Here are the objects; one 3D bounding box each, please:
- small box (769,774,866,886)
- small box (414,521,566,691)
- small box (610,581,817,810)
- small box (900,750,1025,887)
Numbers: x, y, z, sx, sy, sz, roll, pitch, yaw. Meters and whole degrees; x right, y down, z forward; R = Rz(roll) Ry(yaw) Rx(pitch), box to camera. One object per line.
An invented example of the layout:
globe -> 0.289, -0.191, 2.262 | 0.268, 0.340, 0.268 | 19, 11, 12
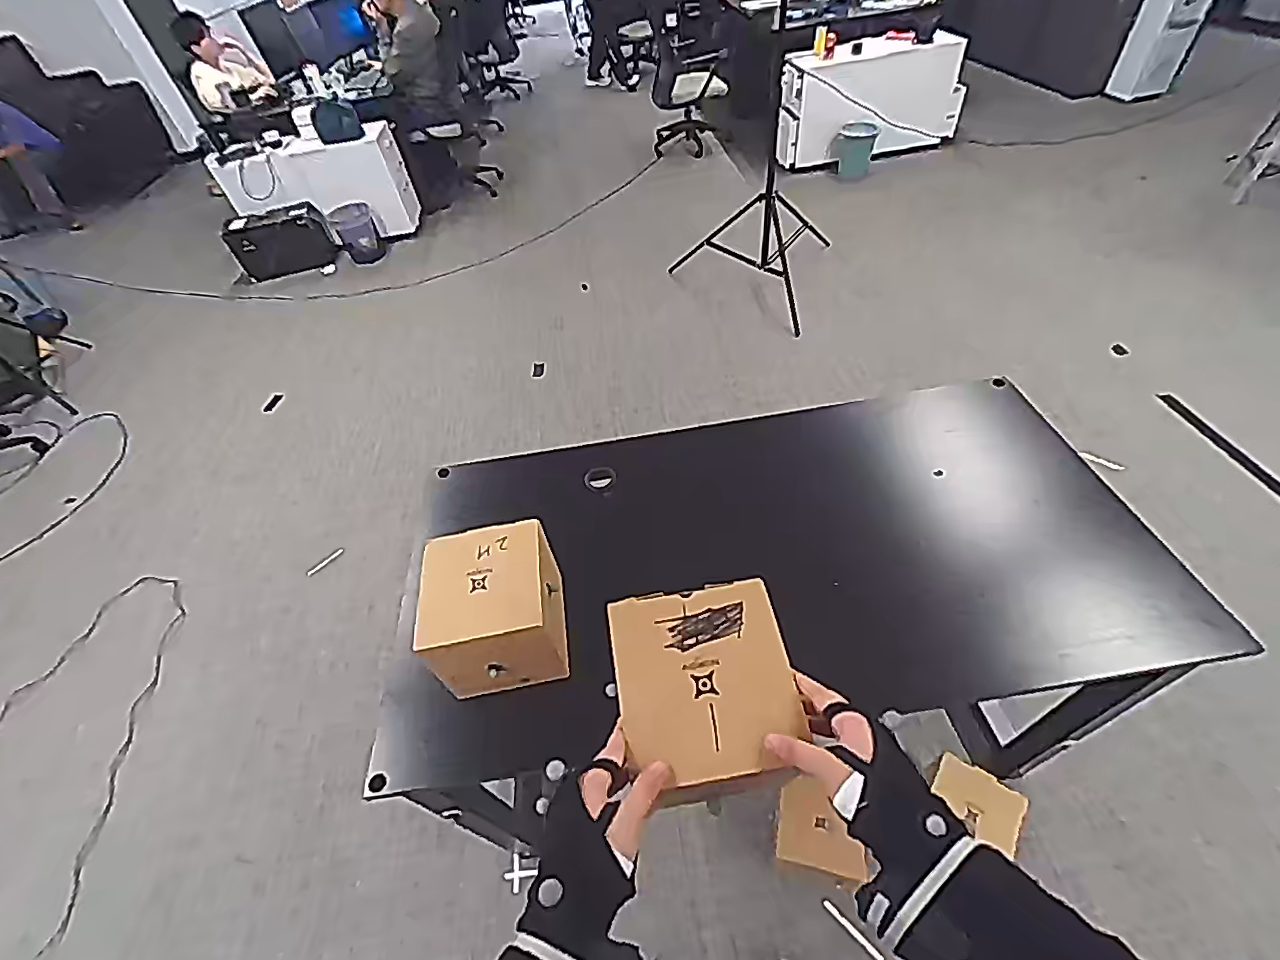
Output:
small box -> 0.382, 0.762, 1.178 | 0.179, 0.176, 0.168 | 6, 49, 14
small box -> -0.207, 0.189, 0.788 | 0.168, 0.176, 0.179 | -11, 48, -2
small box -> 0.064, 0.231, 0.573 | 0.168, 0.176, 0.179 | -9, 55, -3
small box -> 0.683, 0.727, 1.161 | 0.168, 0.176, 0.179 | 25, 57, 28
